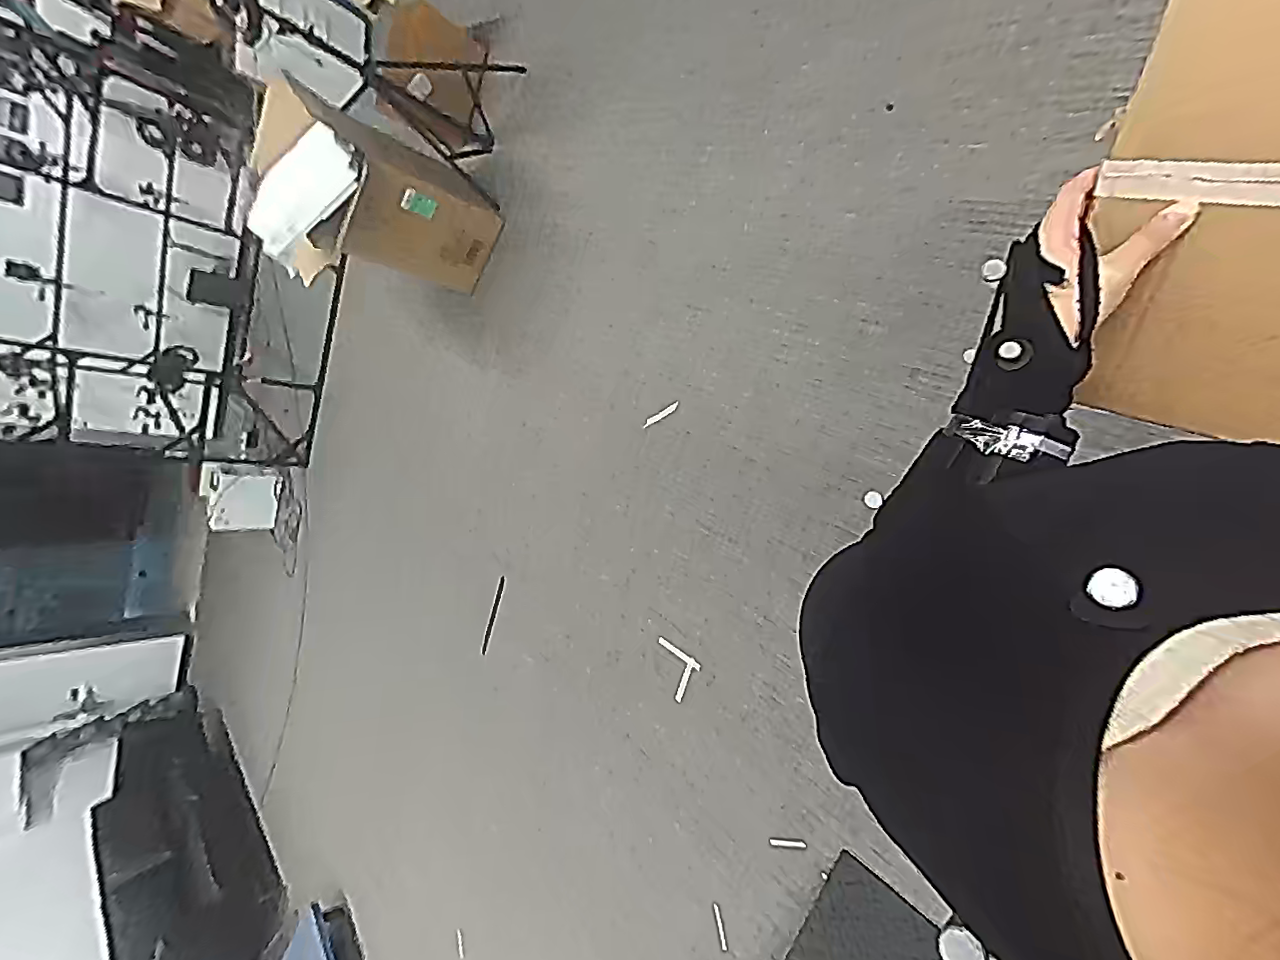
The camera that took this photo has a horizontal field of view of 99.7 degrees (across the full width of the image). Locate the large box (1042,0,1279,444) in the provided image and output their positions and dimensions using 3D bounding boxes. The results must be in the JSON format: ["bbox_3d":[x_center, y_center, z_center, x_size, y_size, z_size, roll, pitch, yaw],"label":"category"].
[{"bbox_3d":[0.553,-0.195,0.309,0.408,0.320,0.320,29,141,39],"label":"large box"}]

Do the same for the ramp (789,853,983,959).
[{"bbox_3d":[0.500,1.490,1.289,0.509,0.206,0.991,27,104,39],"label":"ramp"}]
